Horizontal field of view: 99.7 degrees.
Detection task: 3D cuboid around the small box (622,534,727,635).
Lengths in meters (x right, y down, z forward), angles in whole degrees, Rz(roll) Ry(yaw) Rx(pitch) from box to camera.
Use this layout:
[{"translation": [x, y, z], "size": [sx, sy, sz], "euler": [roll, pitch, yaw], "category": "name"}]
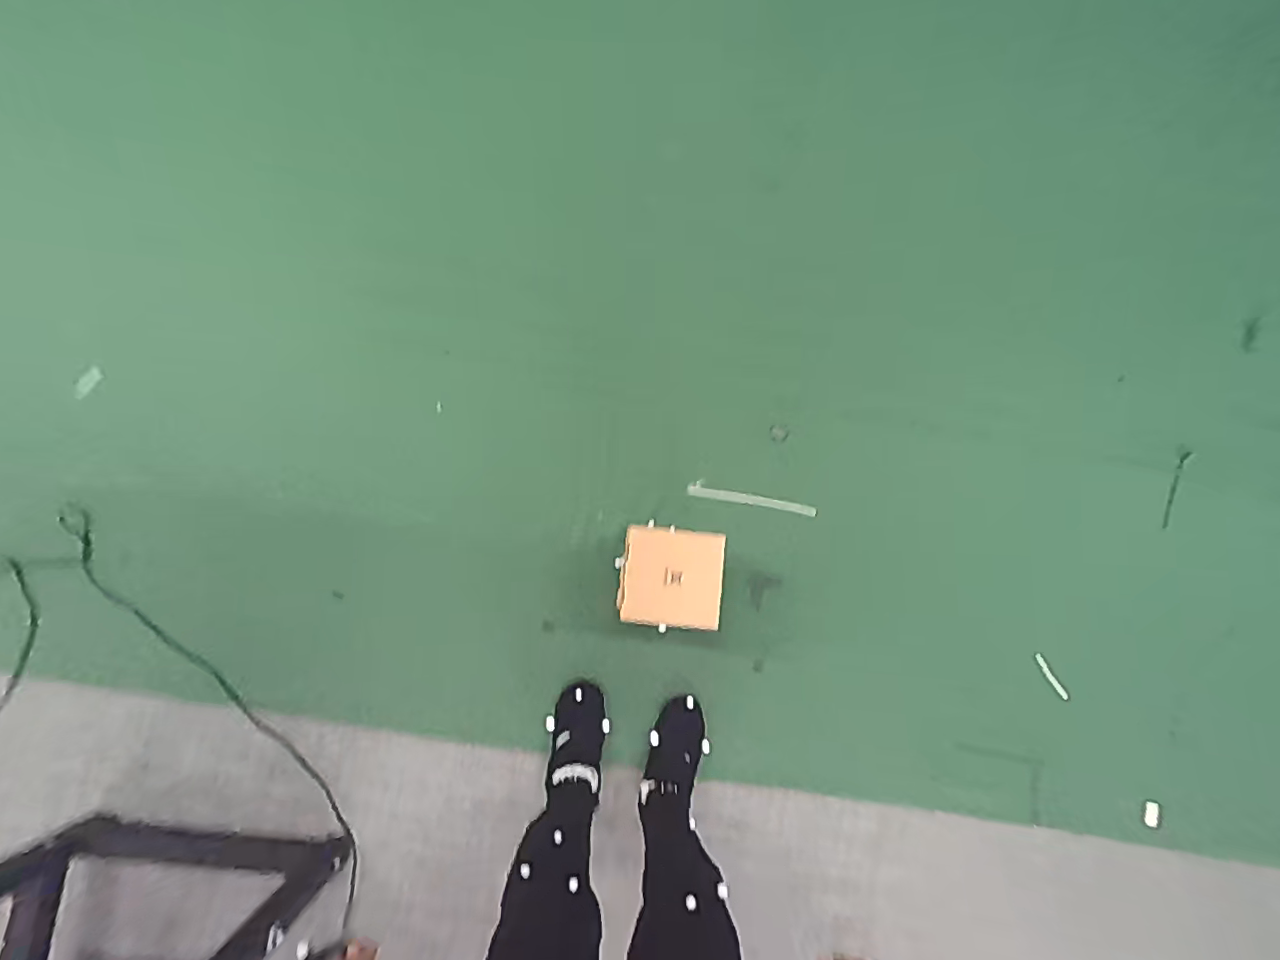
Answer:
[{"translation": [0.062, 0.194, 1.040], "size": [0.179, 0.176, 0.168], "euler": [5, 83, 1], "category": "small box"}]
